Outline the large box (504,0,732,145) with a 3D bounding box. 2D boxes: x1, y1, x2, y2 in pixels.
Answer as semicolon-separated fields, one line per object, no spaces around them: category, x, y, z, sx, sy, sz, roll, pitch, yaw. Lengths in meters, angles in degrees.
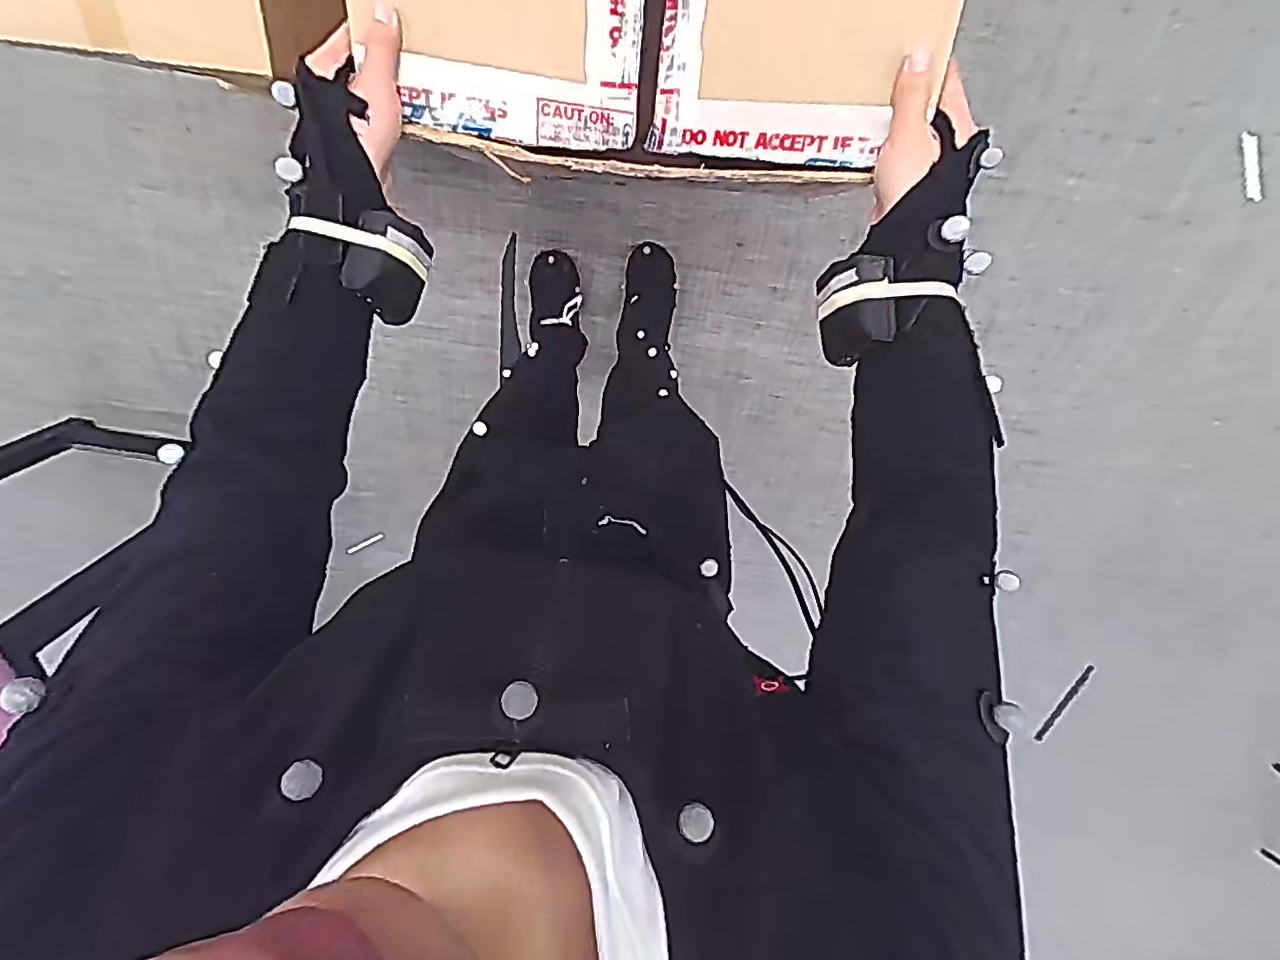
large box;-0.019;-0.769;0.830;0.320;0.320;0.408;7;121;0
